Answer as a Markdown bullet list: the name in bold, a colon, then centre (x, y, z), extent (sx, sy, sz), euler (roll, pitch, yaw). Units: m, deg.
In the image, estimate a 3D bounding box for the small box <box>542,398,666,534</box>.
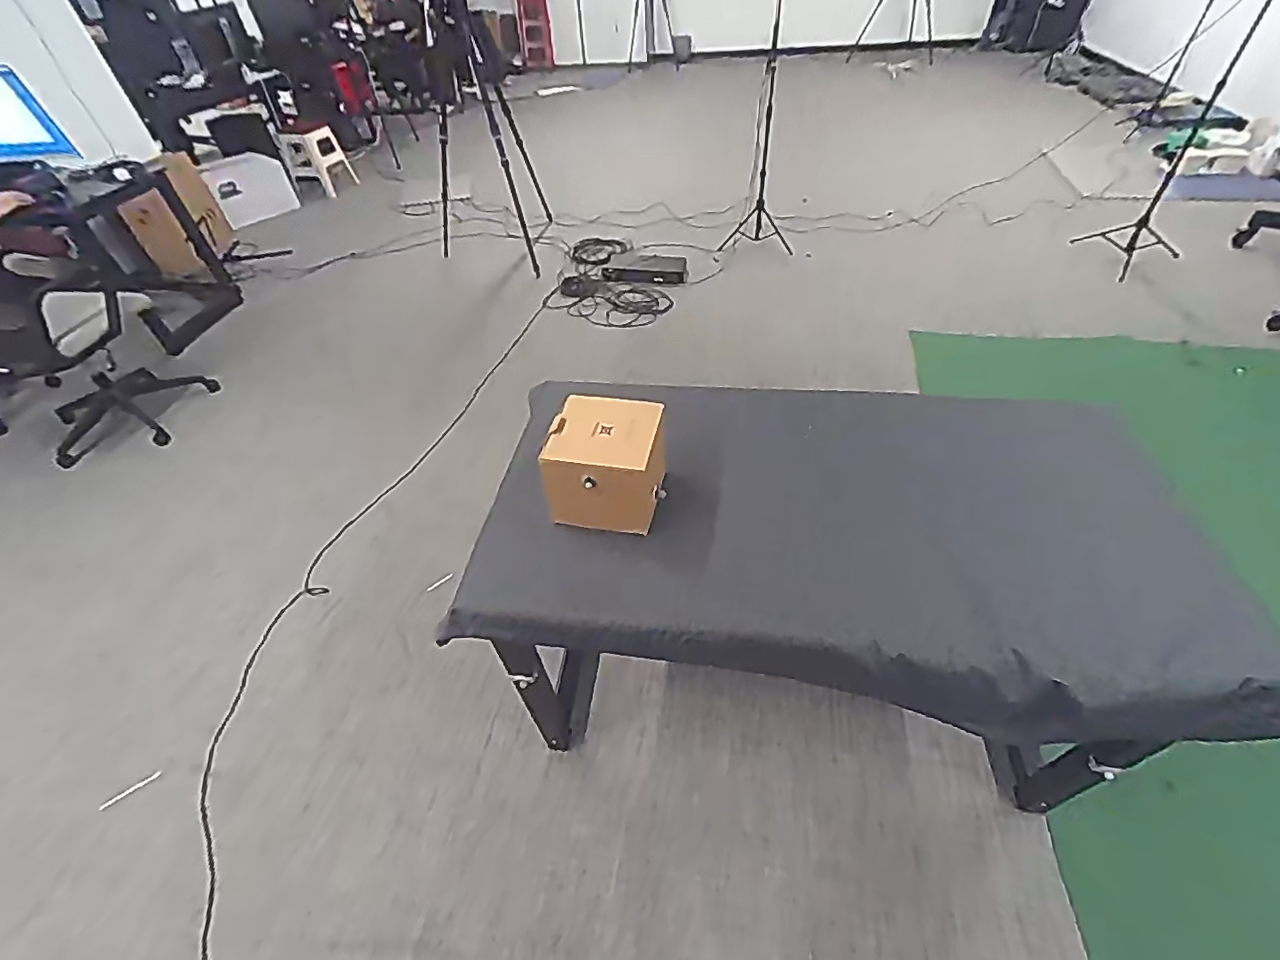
- **small box**: centre (-0.053, -0.023, 0.956), extent (0.179, 0.176, 0.168), euler (8, 48, 10)
